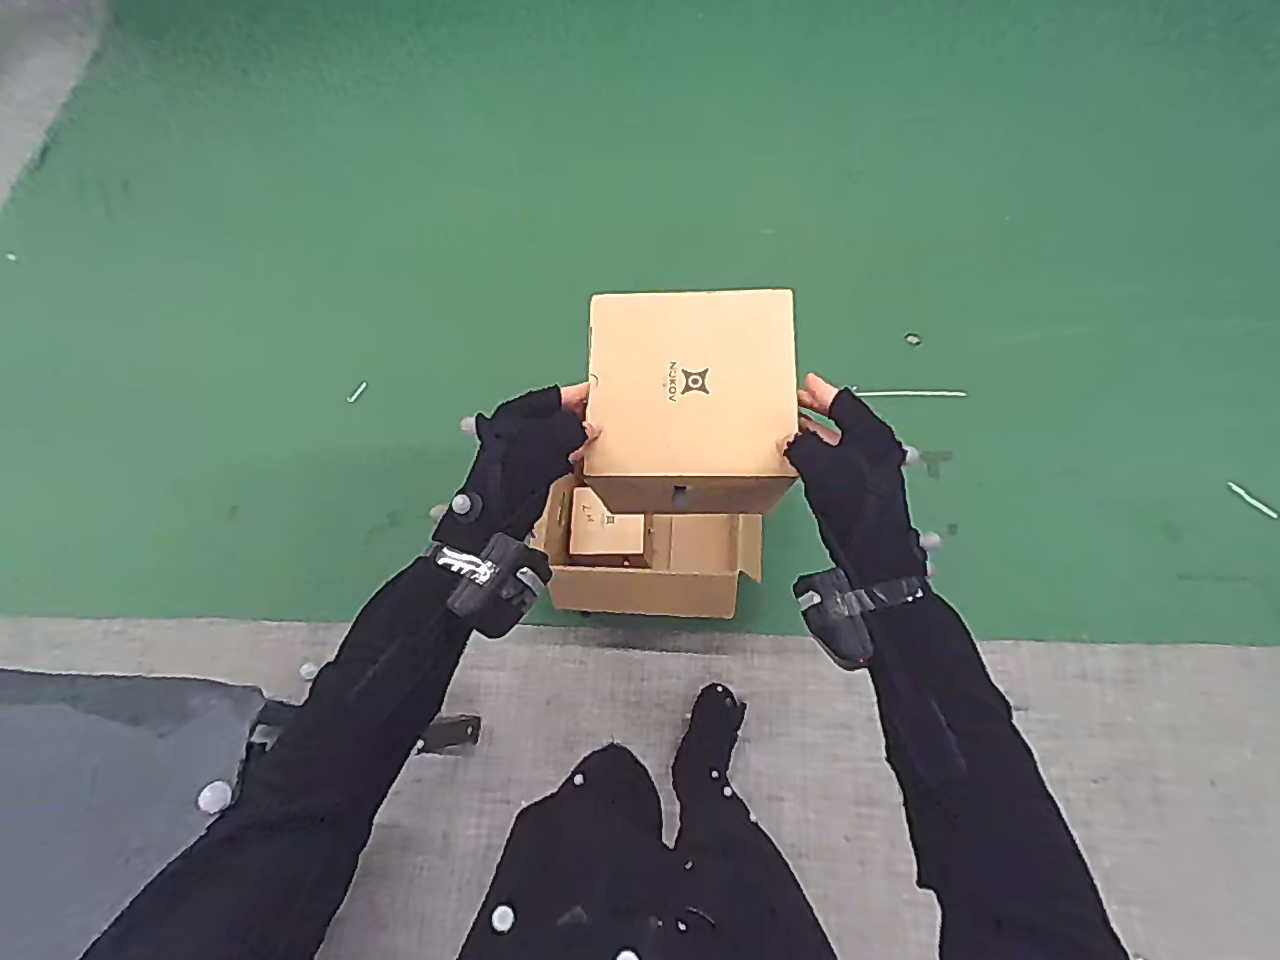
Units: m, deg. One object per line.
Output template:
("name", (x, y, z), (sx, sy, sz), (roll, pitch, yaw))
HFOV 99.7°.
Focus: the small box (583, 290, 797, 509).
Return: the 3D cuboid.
("small box", (0.048, -0.066, 0.531), (0.179, 0.176, 0.168), (0, 77, 6))
